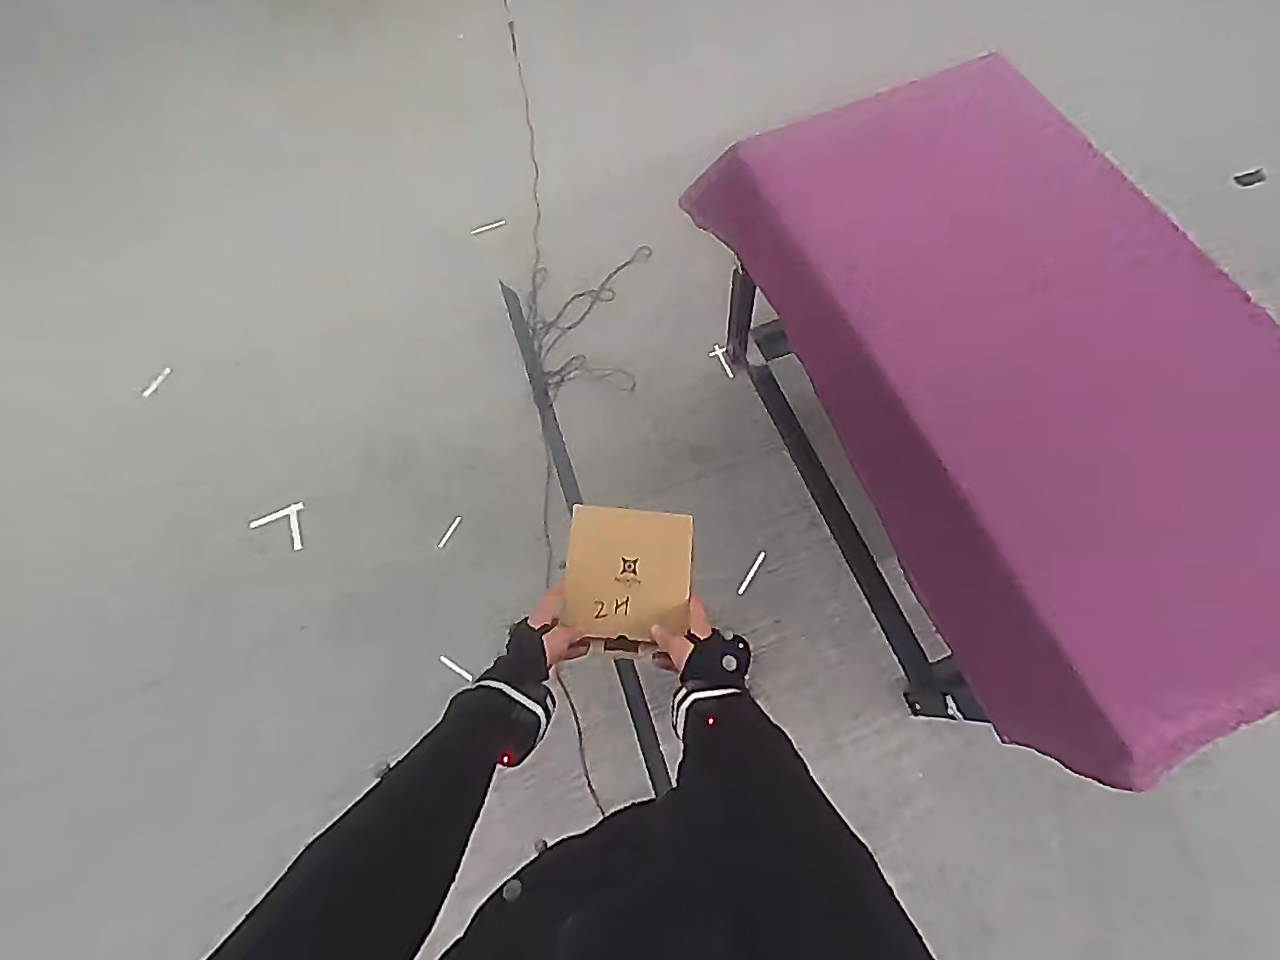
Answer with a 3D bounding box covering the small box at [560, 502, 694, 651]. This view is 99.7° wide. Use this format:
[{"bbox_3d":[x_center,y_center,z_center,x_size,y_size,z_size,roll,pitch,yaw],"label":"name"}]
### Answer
[{"bbox_3d":[-0.019,0.147,0.784,0.168,0.176,0.179,6,70,-1],"label":"small box"}]
